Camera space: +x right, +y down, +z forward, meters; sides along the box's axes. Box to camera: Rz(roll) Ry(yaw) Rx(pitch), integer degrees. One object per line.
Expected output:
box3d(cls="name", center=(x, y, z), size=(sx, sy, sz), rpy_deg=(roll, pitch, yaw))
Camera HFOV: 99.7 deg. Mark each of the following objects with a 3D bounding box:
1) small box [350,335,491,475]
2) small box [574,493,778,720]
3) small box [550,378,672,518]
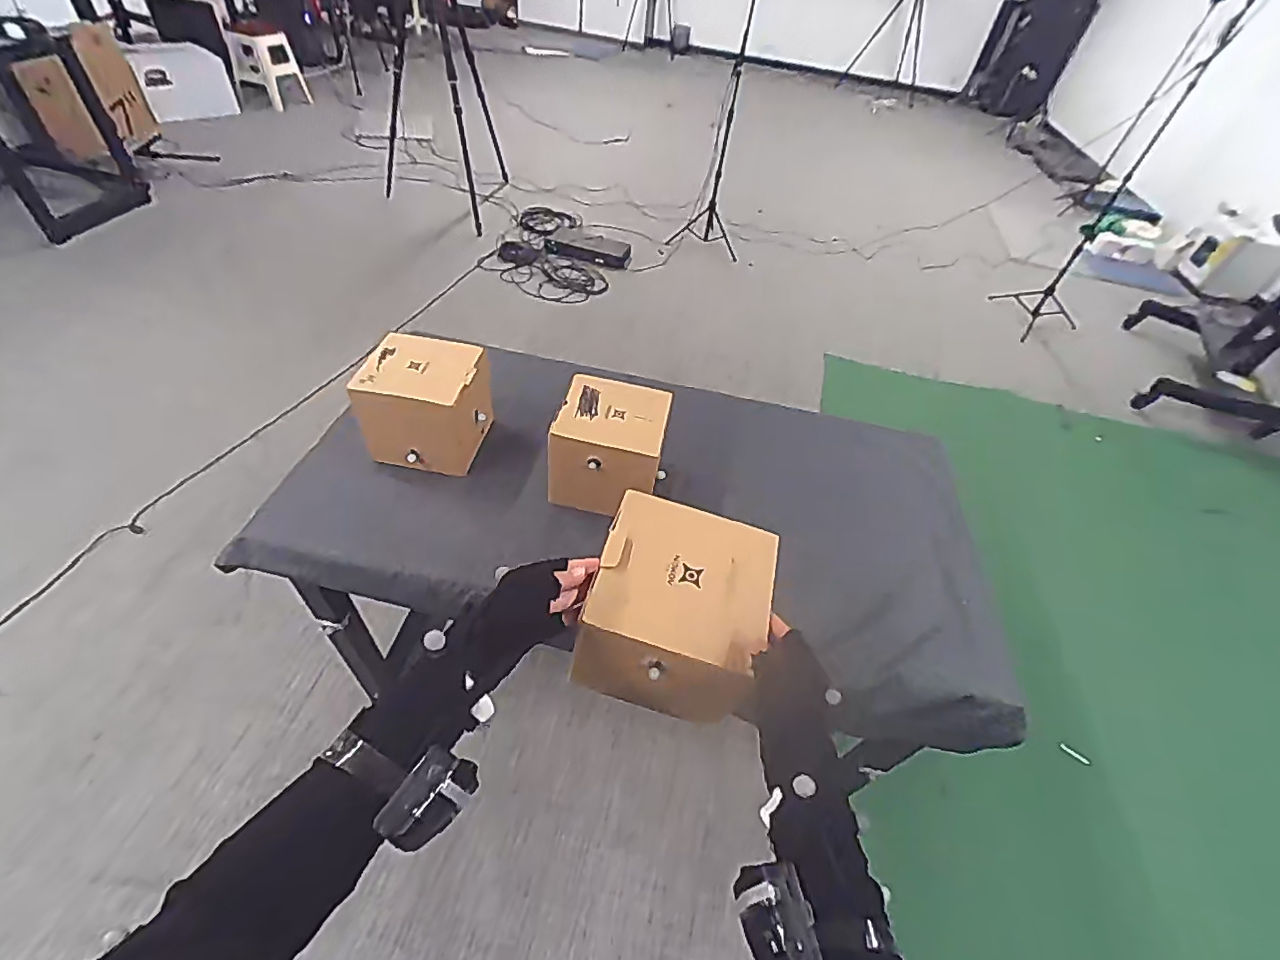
box3d(cls="small box", center=(-0.376, -0.130, 0.969), size=(0.179, 0.176, 0.168), rpy_deg=(11, 47, 0))
box3d(cls="small box", center=(0.035, 0.146, 0.603), size=(0.179, 0.176, 0.168), rpy_deg=(18, 51, 1))
box3d(cls="small box", center=(-0.051, -0.051, 0.949), size=(0.179, 0.176, 0.168), rpy_deg=(12, 47, 2))
